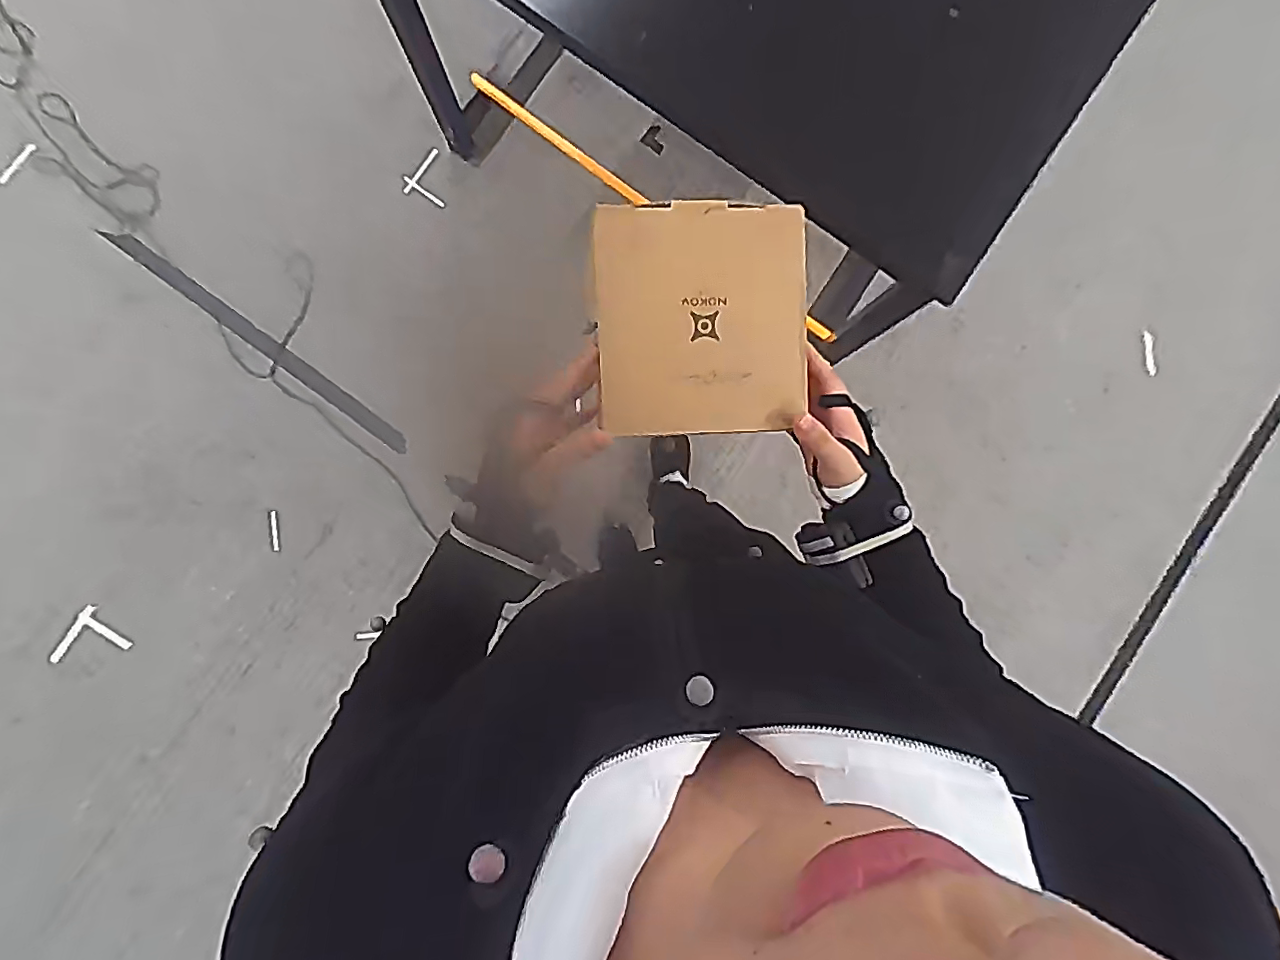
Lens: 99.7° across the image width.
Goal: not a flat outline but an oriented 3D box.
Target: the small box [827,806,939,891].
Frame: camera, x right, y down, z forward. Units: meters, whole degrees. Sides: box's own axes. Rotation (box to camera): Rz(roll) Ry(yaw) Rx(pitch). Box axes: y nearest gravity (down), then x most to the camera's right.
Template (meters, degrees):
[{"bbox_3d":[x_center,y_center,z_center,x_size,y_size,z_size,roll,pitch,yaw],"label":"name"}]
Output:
[{"bbox_3d":[0.624,0.997,1.414,0.179,0.176,0.168,35,87,0],"label":"small box"}]

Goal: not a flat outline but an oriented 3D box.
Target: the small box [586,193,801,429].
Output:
[{"bbox_3d":[0.036,-0.139,0.499,0.168,0.176,0.179,-3,96,-6],"label":"small box"}]
